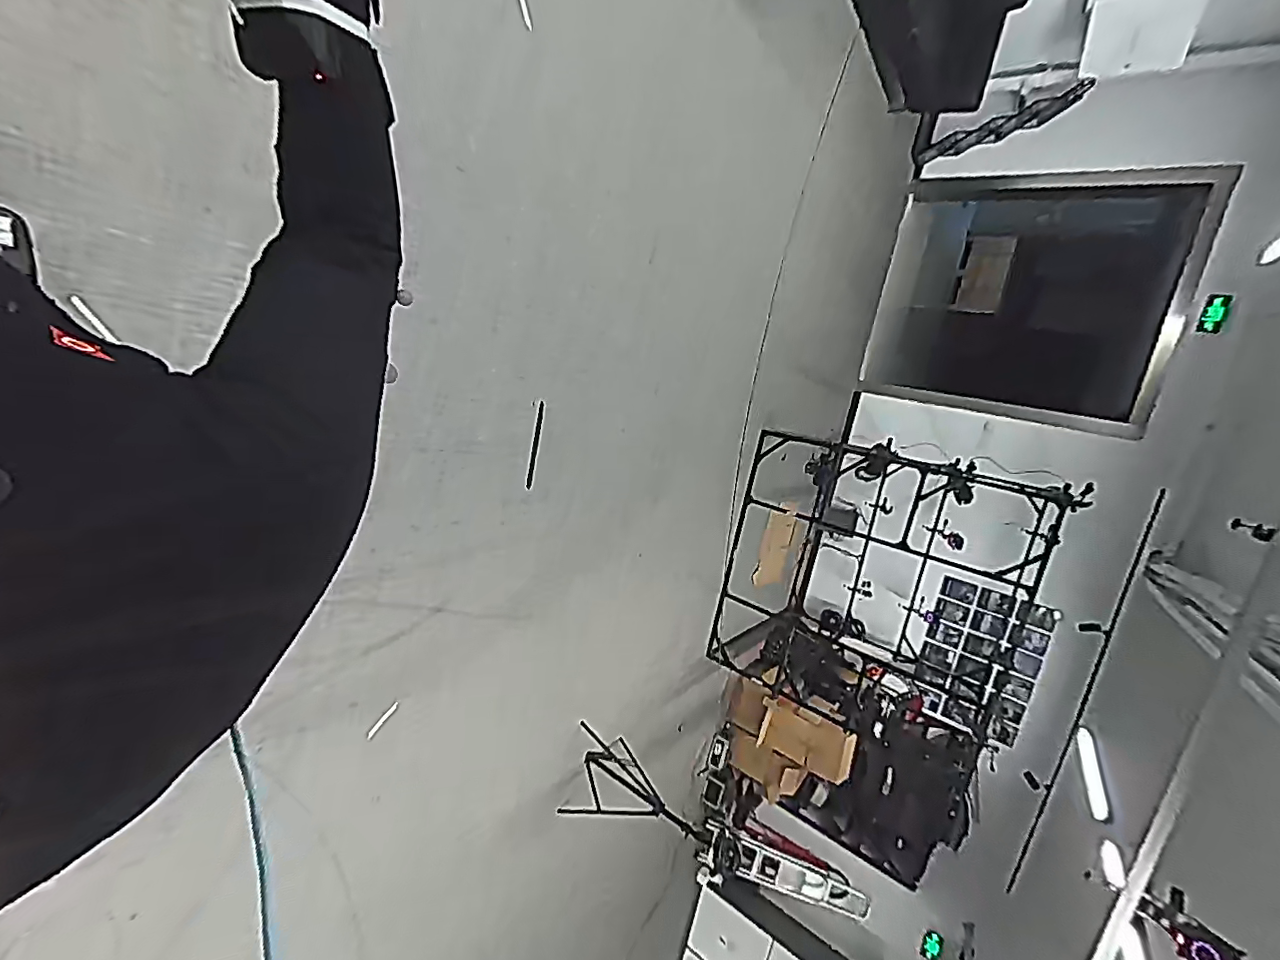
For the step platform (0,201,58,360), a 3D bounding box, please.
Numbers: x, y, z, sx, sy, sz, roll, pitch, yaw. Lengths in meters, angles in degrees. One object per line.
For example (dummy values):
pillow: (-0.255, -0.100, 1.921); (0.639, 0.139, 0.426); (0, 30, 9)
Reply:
step platform: (-1.357, -0.362, 0.794); (0.684, 0.204, 0.286); (-6, 110, -56)
